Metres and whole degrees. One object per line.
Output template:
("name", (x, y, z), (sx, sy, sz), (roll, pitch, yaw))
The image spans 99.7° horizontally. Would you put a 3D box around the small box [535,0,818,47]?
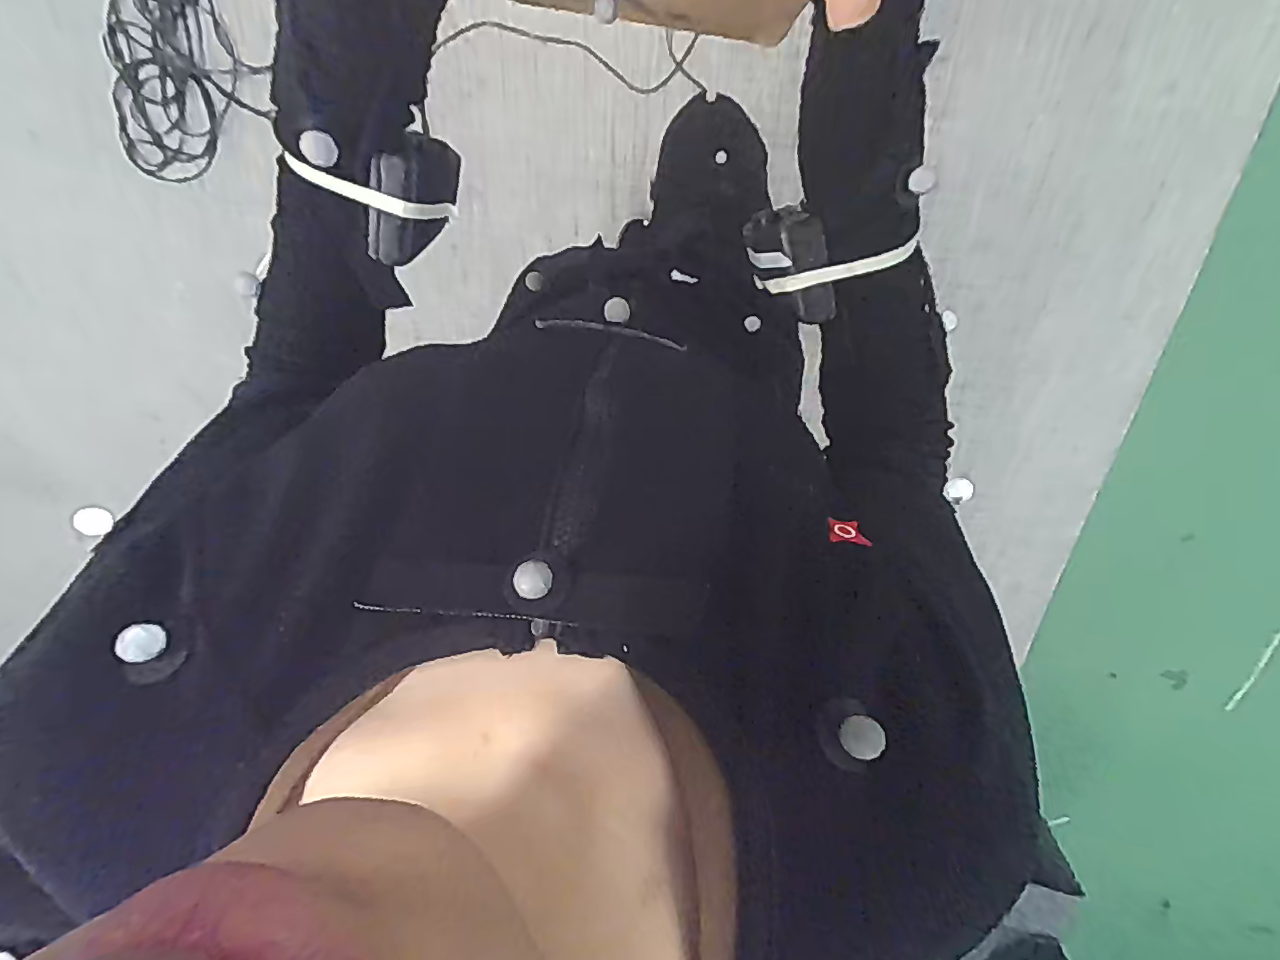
("small box", (0.014, -0.302, 0.205), (0.168, 0.176, 0.179), (10, 120, 0))
